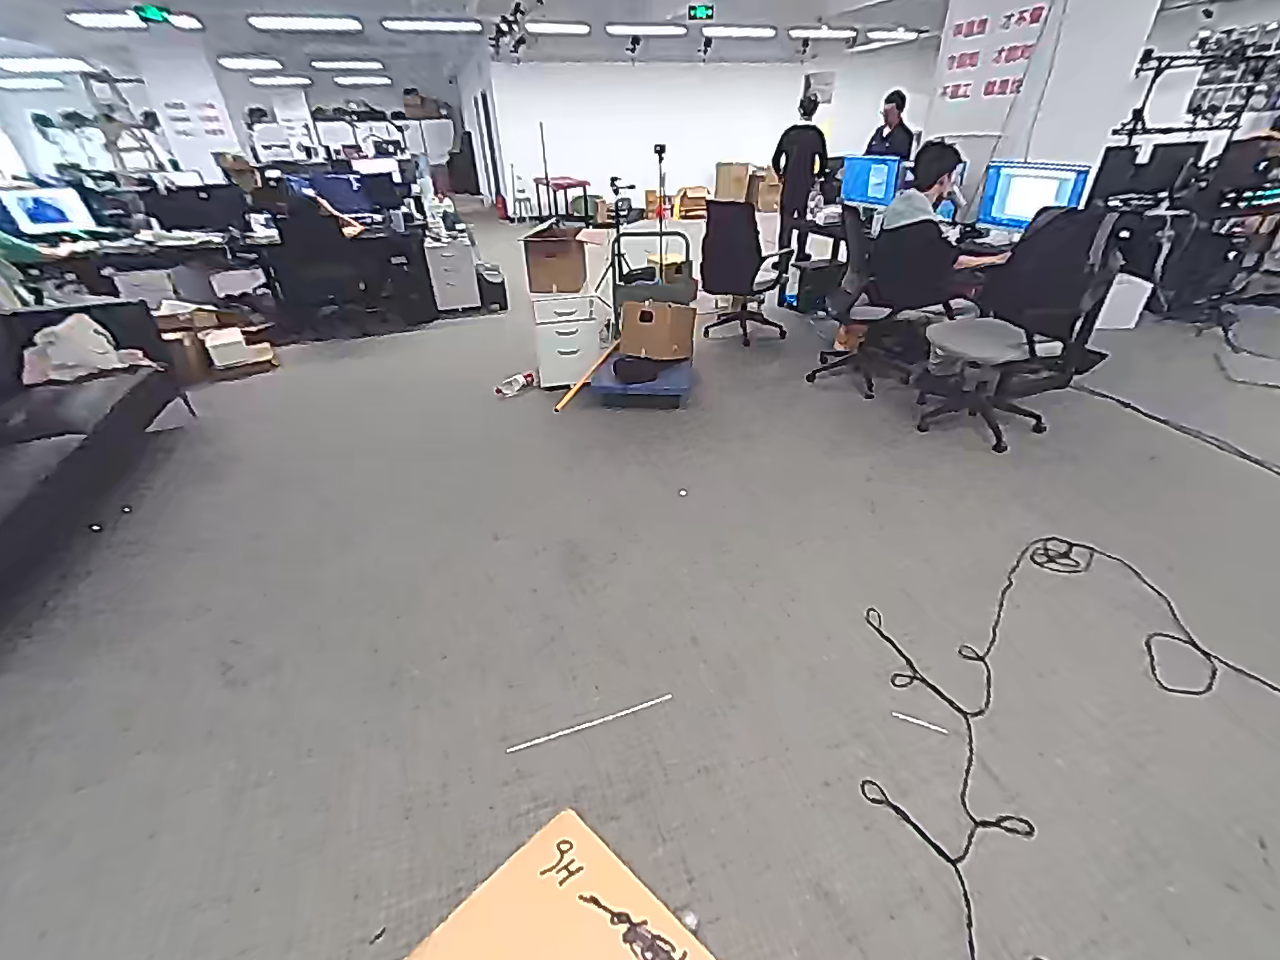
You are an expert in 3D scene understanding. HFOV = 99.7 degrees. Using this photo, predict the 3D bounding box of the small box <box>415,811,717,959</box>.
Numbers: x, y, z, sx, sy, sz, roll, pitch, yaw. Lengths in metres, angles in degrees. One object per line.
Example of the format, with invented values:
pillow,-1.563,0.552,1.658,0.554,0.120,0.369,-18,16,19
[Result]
small box,-0.040,0.353,0.306,0.168,0.176,0.179,17,37,42
